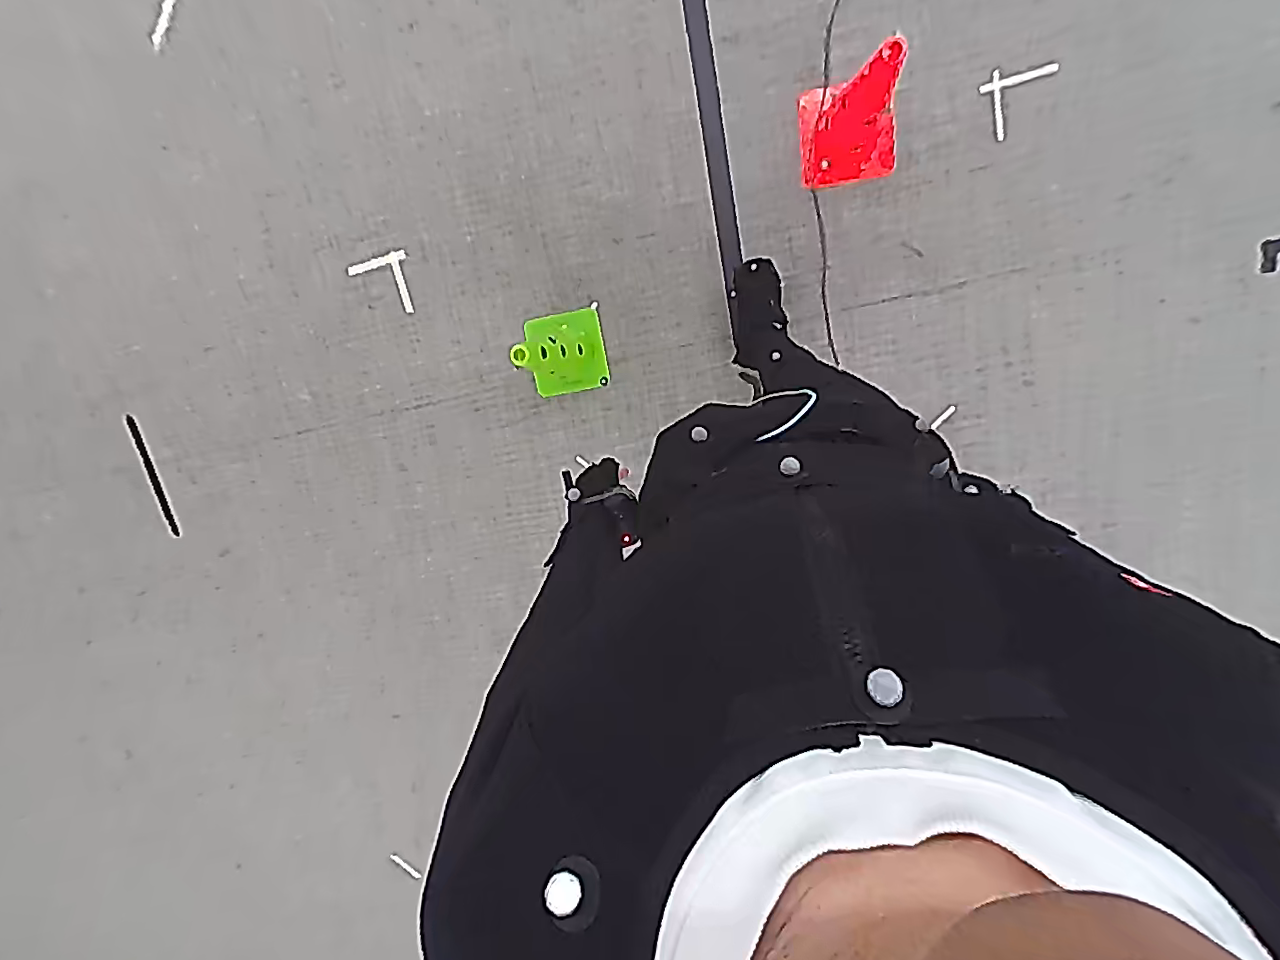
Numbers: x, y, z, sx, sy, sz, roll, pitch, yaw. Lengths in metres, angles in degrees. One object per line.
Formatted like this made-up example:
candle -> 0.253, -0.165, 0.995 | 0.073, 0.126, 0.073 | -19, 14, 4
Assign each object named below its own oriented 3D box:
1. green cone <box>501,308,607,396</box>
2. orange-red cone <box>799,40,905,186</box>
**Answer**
green cone -> -0.222, -0.291, 1.233 | 0.202, 0.368, 0.200 | -9, 101, 11
orange-red cone -> 0.435, -0.733, 1.040 | 0.199, 0.360, 0.198 | -5, 103, 8
